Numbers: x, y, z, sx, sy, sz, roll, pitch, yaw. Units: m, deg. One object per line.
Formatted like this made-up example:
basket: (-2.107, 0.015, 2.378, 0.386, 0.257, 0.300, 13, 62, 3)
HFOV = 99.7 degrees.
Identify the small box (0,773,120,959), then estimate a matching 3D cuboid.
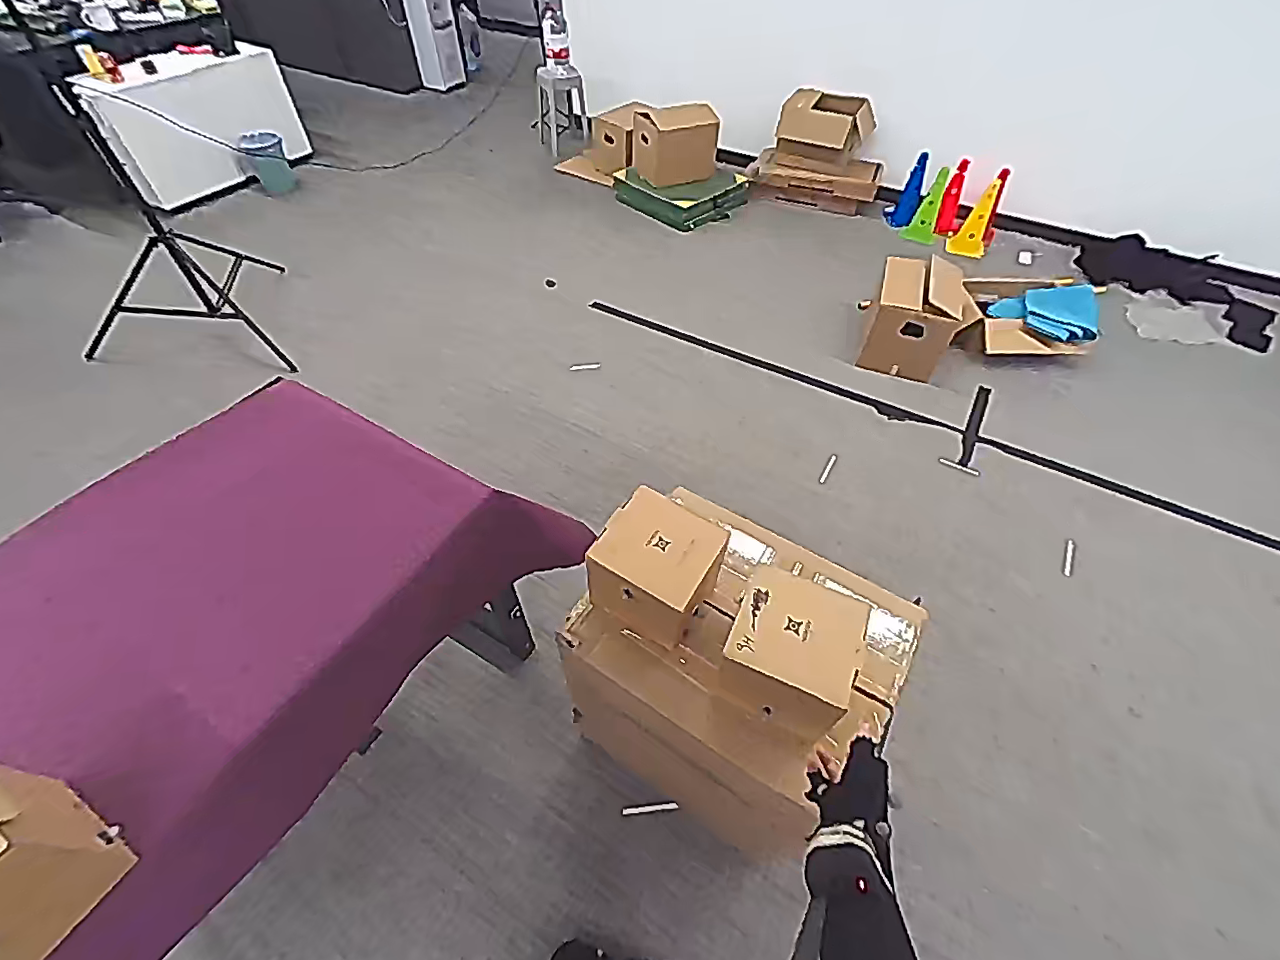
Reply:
small box: (-0.691, 0.415, 0.542, 0.168, 0.176, 0.179, 23, 54, 18)

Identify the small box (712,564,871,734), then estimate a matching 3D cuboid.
small box: (0.224, 0.263, 0.826, 0.179, 0.176, 0.168, 20, 54, 16)
